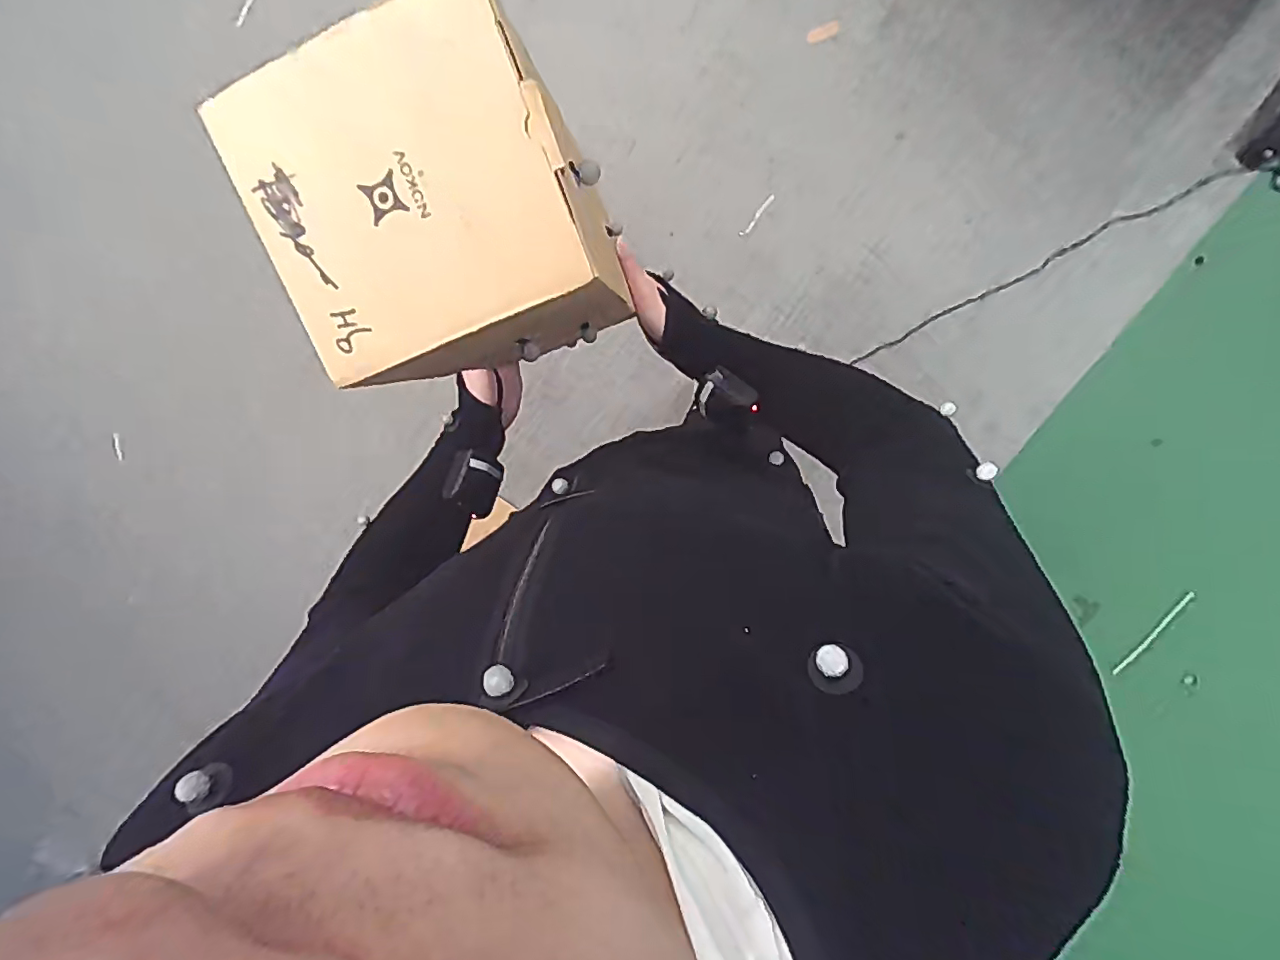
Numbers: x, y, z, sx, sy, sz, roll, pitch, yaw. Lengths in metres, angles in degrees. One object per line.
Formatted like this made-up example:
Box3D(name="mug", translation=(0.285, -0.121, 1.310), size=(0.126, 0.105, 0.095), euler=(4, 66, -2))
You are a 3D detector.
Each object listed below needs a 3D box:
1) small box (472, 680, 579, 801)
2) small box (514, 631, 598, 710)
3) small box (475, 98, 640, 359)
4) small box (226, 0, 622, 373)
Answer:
Box3D(name="small box", translation=(-0.273, 0.636, 1.341), size=(0.179, 0.176, 0.168), euler=(42, 99, -2))
Box3D(name="small box", translation=(-0.250, 0.600, 1.666), size=(0.179, 0.176, 0.168), euler=(40, 100, -1))
Box3D(name="small box", translation=(-0.105, -0.229, 0.538), size=(0.179, 0.176, 0.168), euler=(-18, 101, 10))
Box3D(name="small box", translation=(-0.119, -0.185, 0.381), size=(0.179, 0.176, 0.168), euler=(-18, 101, 9))
